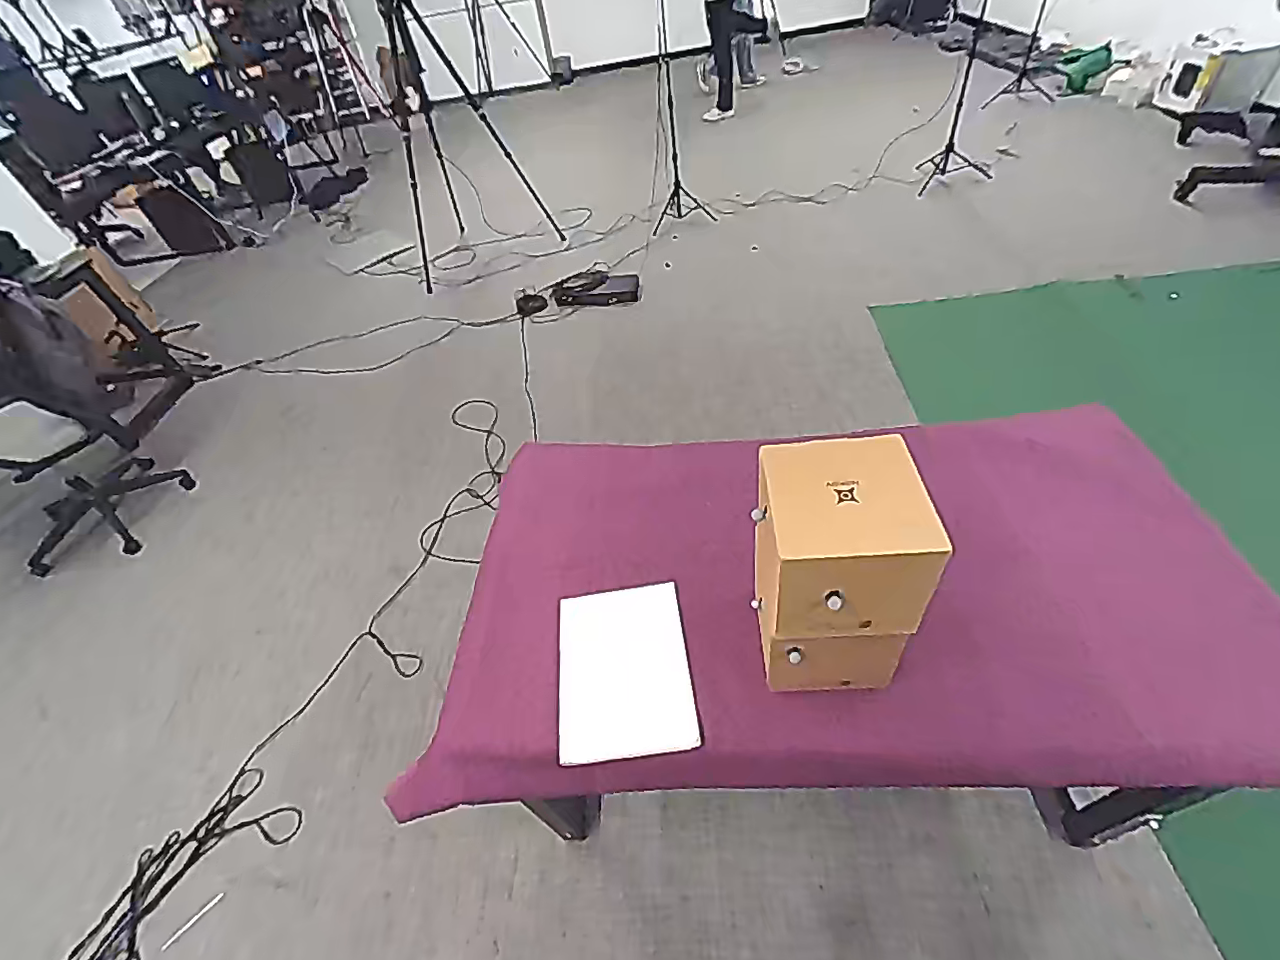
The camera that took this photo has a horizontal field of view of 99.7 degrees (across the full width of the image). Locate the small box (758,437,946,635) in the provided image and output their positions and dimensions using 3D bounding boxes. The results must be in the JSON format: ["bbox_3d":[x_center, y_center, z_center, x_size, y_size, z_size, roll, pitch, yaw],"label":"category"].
[{"bbox_3d":[0.234,0.073,0.648,0.168,0.176,0.179,-4,44,7],"label":"small box"}]
